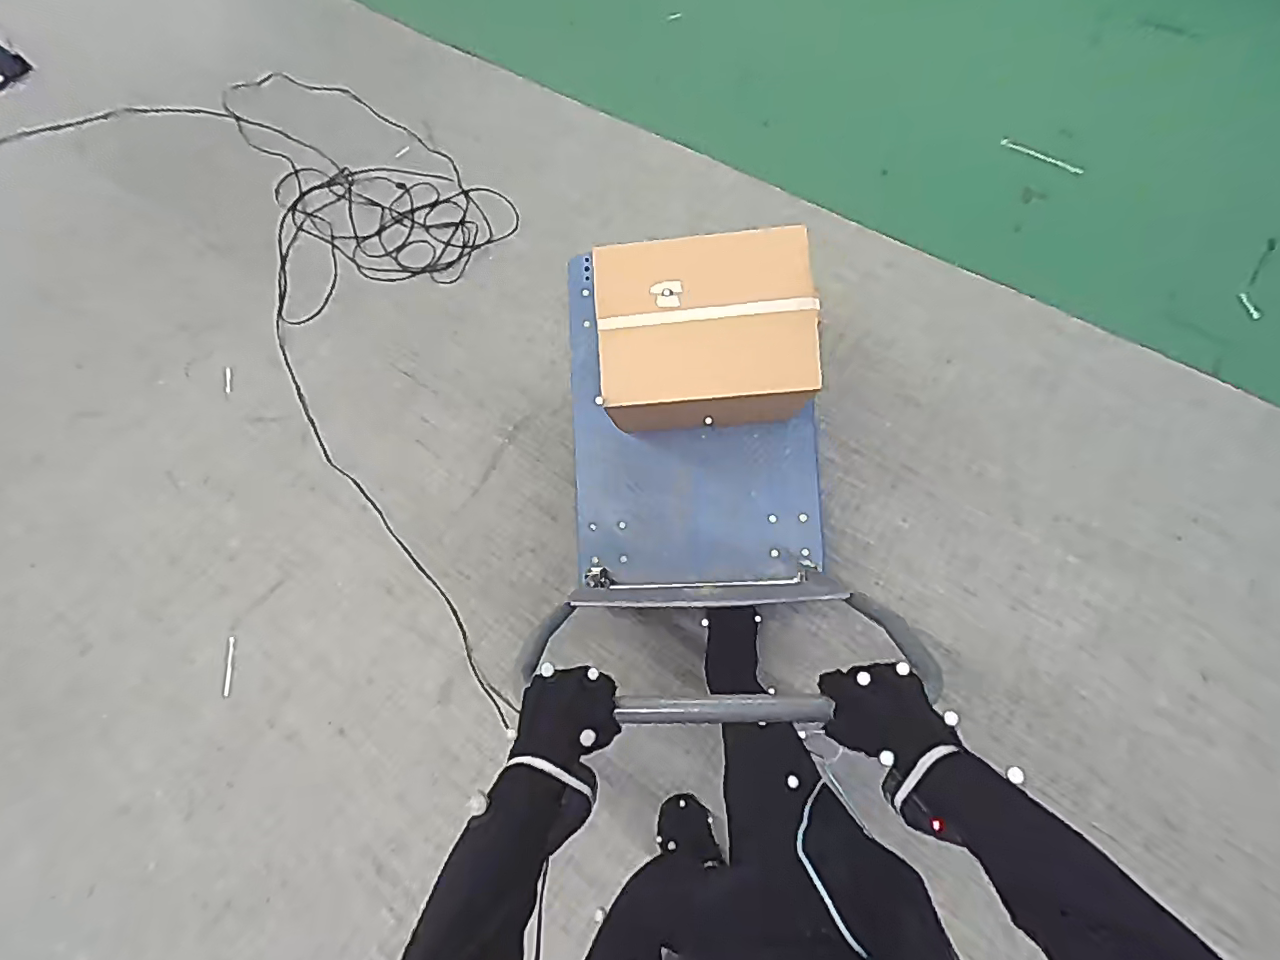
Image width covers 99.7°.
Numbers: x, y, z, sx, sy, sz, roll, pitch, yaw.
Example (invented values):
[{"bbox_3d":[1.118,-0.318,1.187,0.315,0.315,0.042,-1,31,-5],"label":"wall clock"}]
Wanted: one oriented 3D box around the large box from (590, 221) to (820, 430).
[{"bbox_3d":[0.132,-0.297,1.149,0.408,0.320,0.320,-6,85,6],"label":"large box"}]
